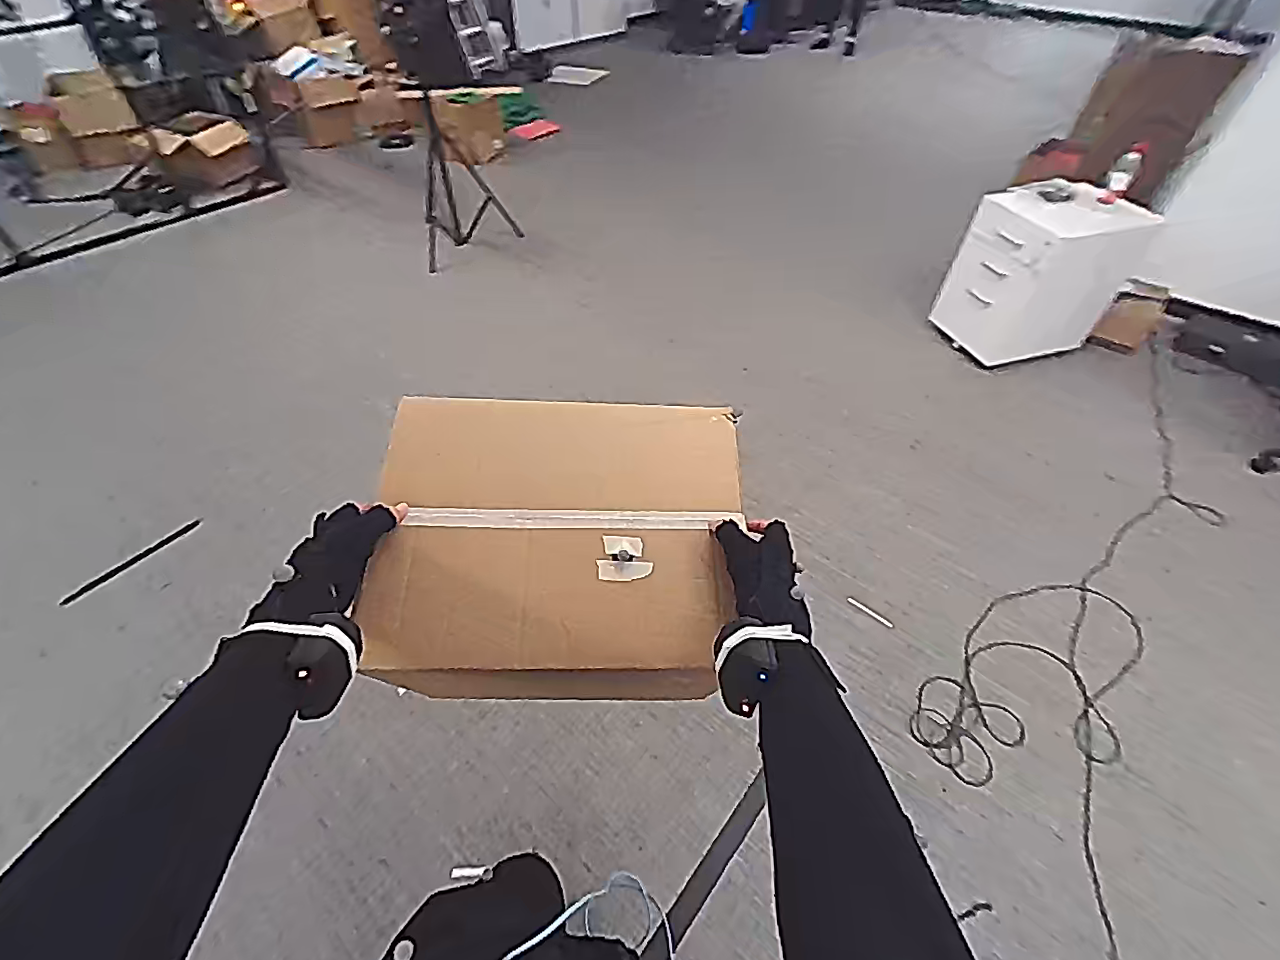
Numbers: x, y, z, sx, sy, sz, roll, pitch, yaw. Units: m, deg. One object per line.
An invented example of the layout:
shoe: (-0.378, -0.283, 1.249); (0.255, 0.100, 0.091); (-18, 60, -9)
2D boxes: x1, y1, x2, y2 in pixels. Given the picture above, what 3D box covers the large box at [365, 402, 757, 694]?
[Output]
large box: (-0.089, 0.113, 0.744); (0.408, 0.320, 0.320); (2, 63, -4)
